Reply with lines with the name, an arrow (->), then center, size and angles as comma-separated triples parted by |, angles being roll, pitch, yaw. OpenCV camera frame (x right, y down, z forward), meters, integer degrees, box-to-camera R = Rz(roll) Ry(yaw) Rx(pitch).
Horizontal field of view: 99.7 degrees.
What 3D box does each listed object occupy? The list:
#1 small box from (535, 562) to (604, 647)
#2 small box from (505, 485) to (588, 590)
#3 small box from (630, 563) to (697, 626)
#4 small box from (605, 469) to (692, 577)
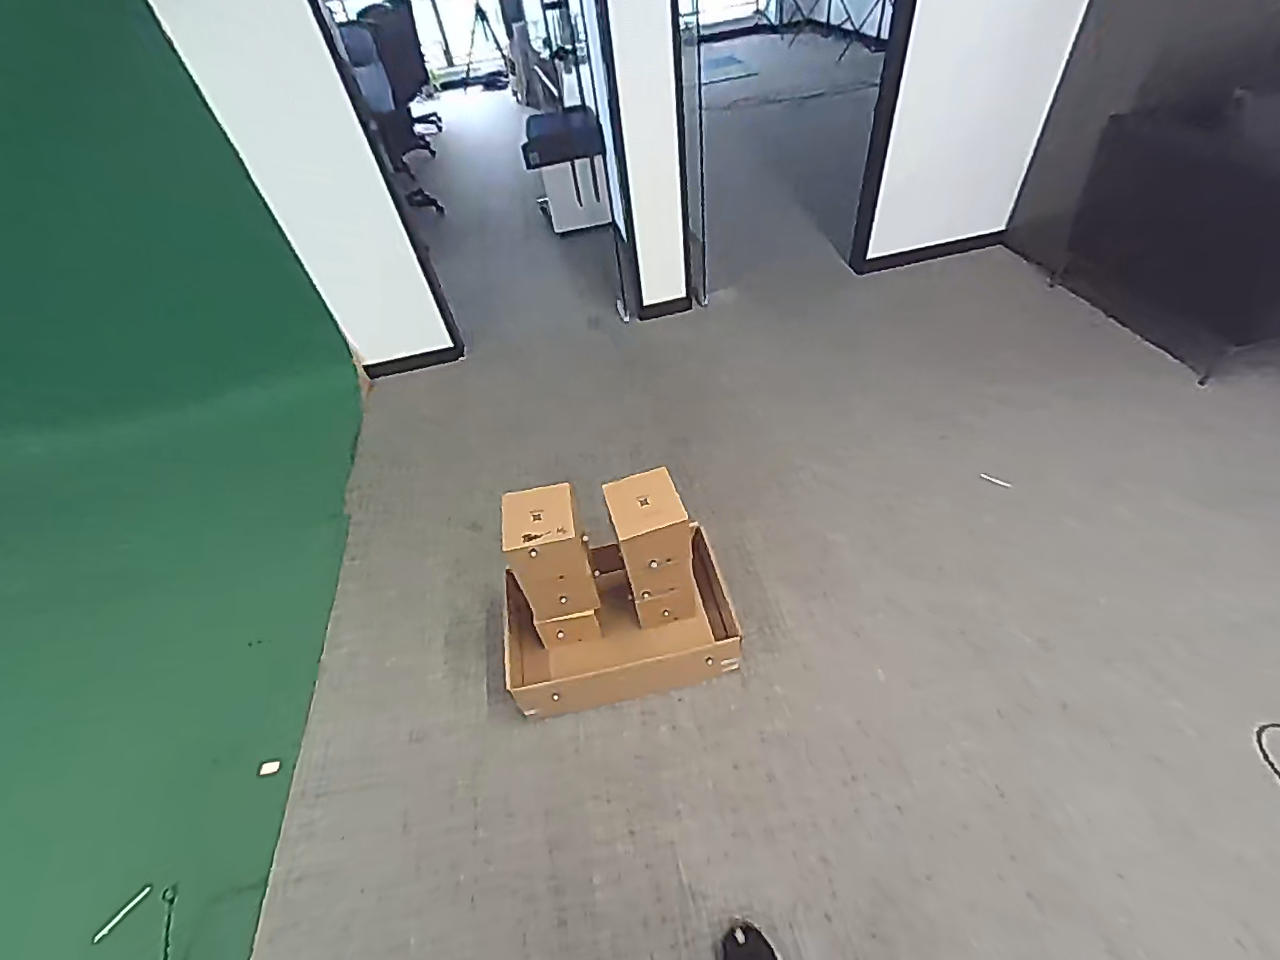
small box -> -0.202, 0.367, 1.561 | 0.168, 0.176, 0.179 | -9, 47, -1
small box -> -0.226, 0.141, 1.322 | 0.168, 0.176, 0.179 | -11, 46, -1
small box -> 0.065, 0.306, 1.574 | 0.168, 0.176, 0.179 | -13, 48, -3
small box -> 0.022, 0.107, 1.316 | 0.168, 0.176, 0.179 | -17, 49, -5
